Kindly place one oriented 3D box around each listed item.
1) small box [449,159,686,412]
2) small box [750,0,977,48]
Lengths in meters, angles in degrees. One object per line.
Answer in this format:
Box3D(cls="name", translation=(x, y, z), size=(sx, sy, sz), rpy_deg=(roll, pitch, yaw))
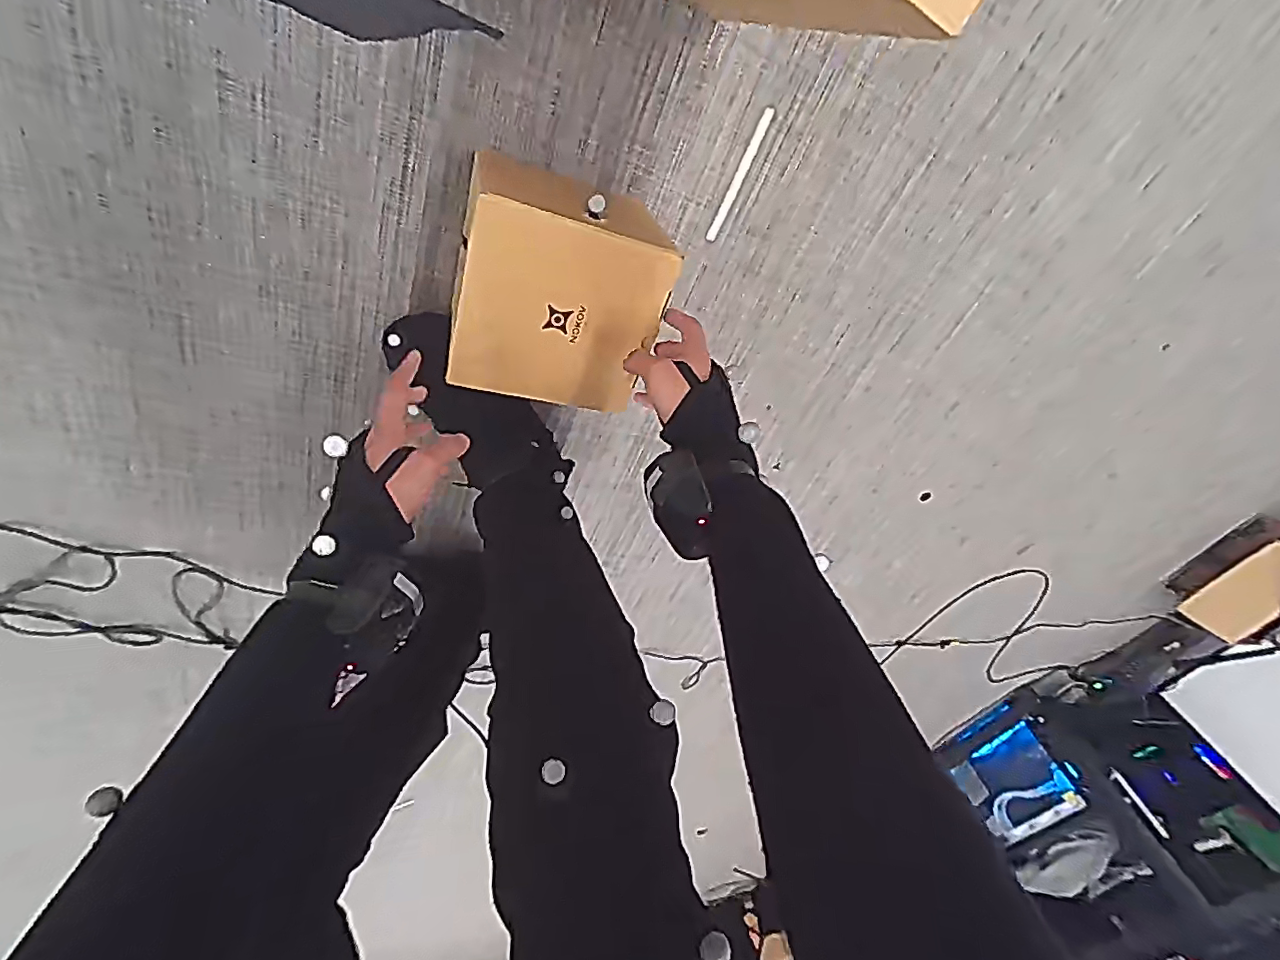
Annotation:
Box3D(cls="small box", translation=(-0.085, -0.192, 0.533), size=(0.179, 0.176, 0.168), rpy_deg=(7, 128, -24))
Box3D(cls="small box", translation=(0.086, -0.332, 0.235), size=(0.179, 0.176, 0.168), rpy_deg=(12, 125, -25))
